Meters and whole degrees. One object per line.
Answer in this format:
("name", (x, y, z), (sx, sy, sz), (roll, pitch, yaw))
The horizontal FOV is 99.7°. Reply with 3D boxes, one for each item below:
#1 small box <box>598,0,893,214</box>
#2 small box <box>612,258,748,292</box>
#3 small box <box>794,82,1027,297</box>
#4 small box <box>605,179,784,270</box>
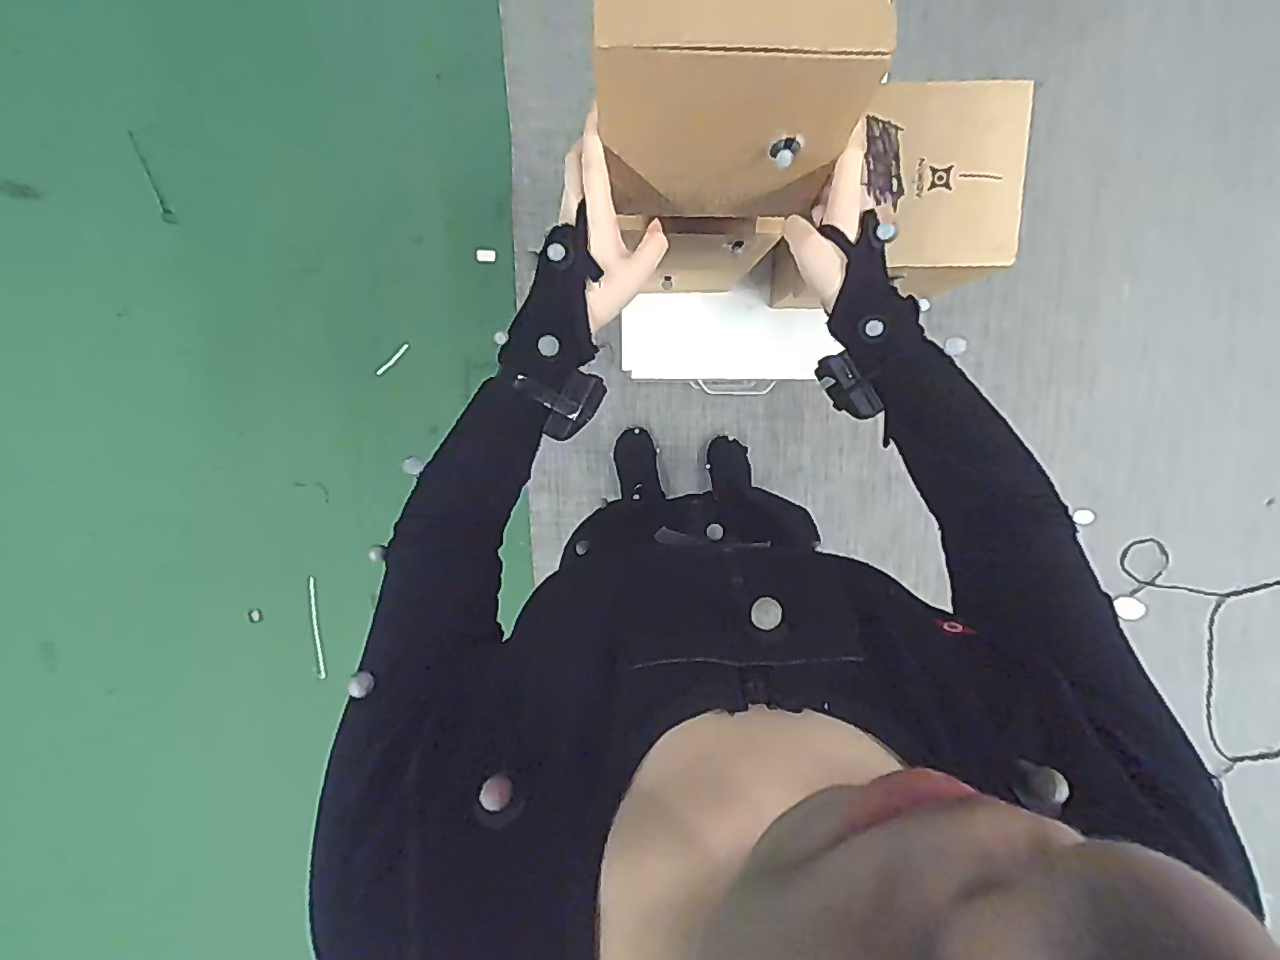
("small box", (0.061, -0.321, 0.401), (0.179, 0.176, 0.168), (0, 83, -1))
("small box", (0.050, -0.363, 0.756), (0.179, 0.176, 0.168), (-1, 99, -1))
("small box", (0.277, -0.302, 0.597), (0.179, 0.176, 0.168), (0, 98, 1))
("small box", (0.053, -0.336, 0.594), (0.179, 0.176, 0.168), (0, 98, -2))
